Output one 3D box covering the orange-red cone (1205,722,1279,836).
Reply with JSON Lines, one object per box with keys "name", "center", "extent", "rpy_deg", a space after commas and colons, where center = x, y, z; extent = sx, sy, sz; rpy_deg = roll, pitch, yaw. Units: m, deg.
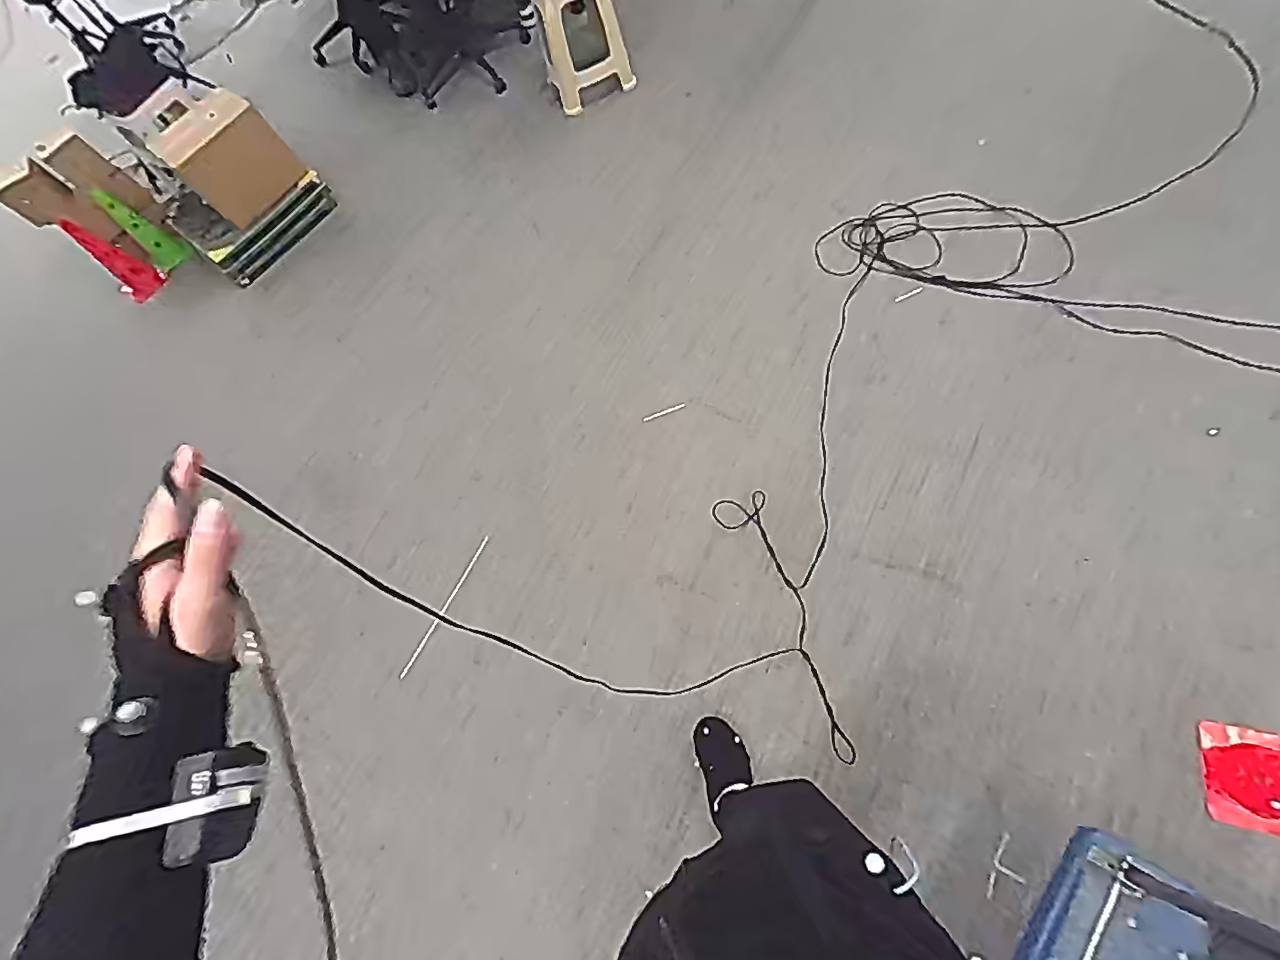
{"name": "orange-red cone", "center": [1.278, 0.565, 0.977], "extent": [0.198, 0.360, 0.199], "rpy_deg": [10, 69, 15]}
